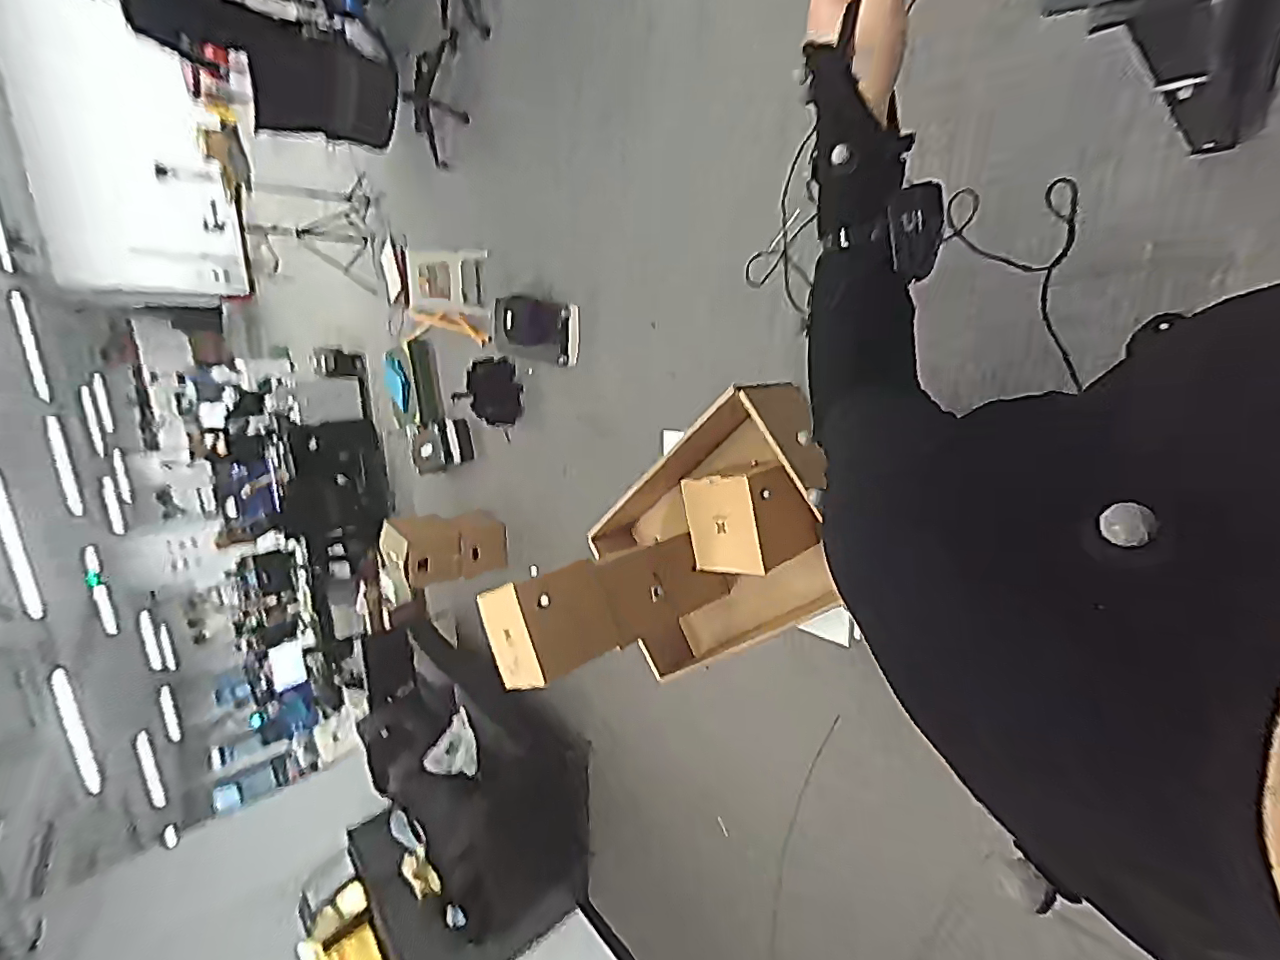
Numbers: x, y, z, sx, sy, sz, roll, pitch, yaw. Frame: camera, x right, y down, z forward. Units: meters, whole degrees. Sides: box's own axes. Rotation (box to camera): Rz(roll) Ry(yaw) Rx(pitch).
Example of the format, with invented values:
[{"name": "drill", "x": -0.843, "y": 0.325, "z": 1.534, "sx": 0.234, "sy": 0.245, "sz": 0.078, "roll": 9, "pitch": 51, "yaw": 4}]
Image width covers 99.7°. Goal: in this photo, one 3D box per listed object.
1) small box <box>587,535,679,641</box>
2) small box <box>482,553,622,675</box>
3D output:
[{"name": "small box", "x": -0.049, "y": 0.225, "z": 1.129, "sx": 0.179, "sy": 0.176, "sz": 0.168, "roll": -22, "pitch": 86, "yaw": 48}, {"name": "small box", "x": -0.164, "y": 0.245, "z": 1.011, "sx": 0.168, "sy": 0.176, "sz": 0.179, "roll": -27, "pitch": 82, "yaw": 49}]
